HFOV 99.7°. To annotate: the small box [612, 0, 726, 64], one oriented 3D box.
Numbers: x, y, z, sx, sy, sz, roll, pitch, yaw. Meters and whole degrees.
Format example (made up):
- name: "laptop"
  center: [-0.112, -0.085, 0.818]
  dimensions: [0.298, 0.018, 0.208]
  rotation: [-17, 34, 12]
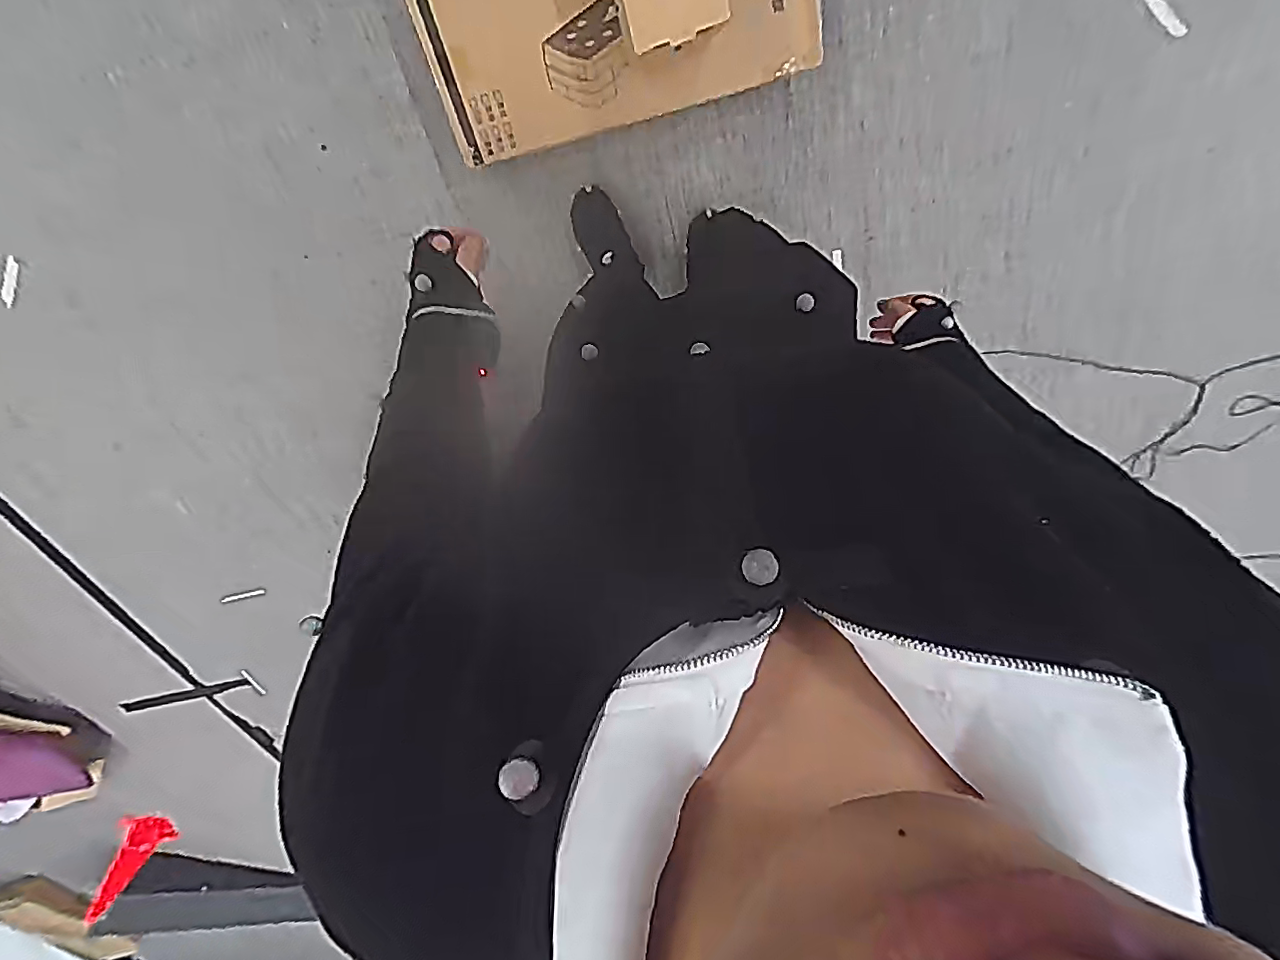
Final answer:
- name: "small box"
  center: [0.038, -0.836, 0.917]
  dimensions: [0.168, 0.176, 0.179]
  rotation: [-16, 122, 5]
